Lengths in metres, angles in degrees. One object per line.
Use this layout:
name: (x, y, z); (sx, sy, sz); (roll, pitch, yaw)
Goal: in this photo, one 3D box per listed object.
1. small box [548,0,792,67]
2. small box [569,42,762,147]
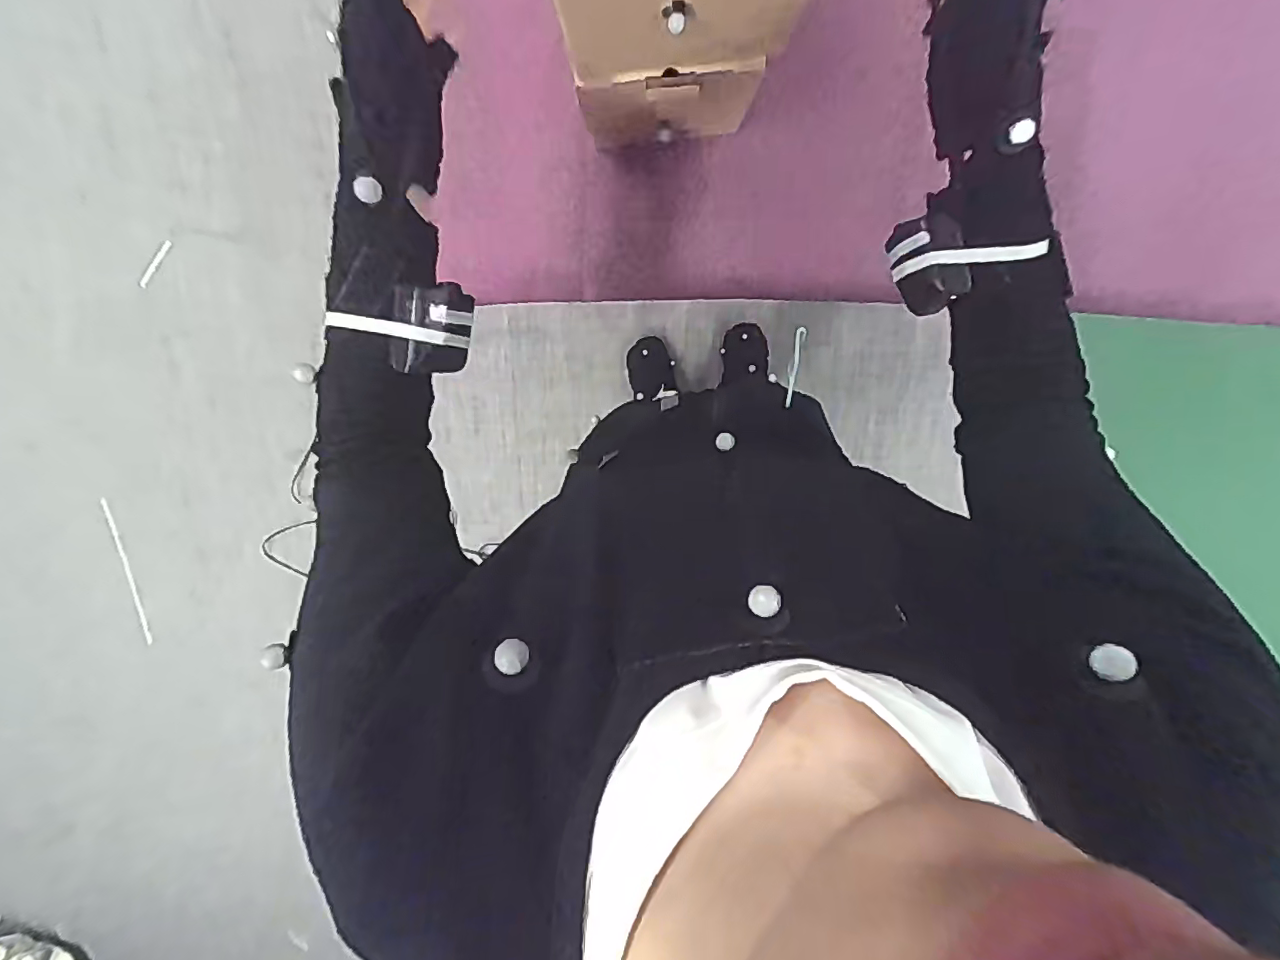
small box: (0.020, -0.403, 0.351); (0.179, 0.176, 0.168); (-3, 104, 1)
small box: (0.017, -0.446, 0.512); (0.168, 0.176, 0.179); (-4, 106, 3)
